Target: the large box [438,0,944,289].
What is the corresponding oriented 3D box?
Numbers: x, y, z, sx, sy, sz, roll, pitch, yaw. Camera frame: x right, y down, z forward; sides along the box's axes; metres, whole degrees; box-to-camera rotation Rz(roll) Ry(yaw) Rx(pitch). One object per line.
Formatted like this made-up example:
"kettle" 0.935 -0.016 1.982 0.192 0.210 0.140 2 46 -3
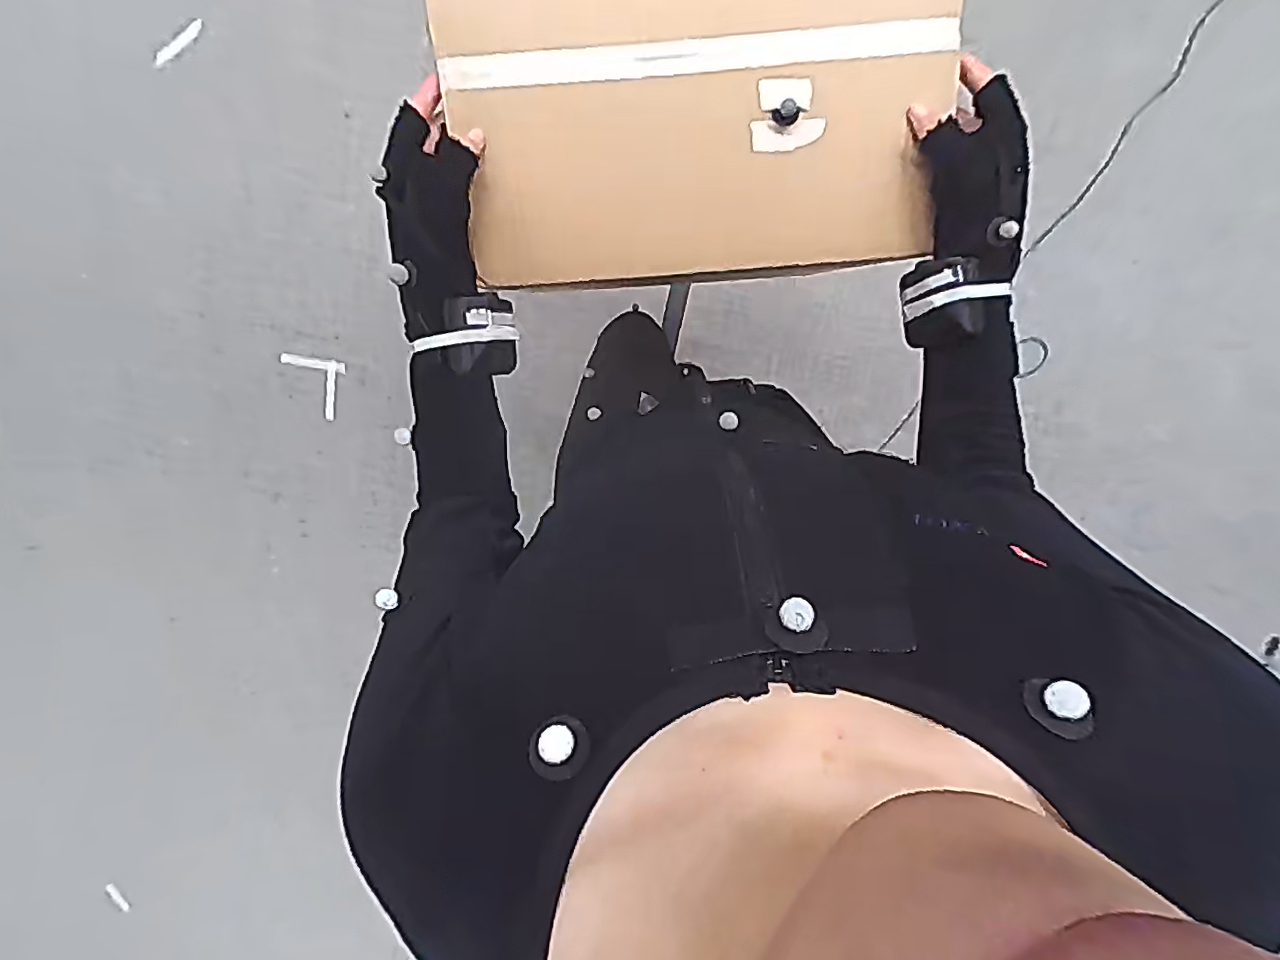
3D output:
"large box" 0.038 -0.387 0.574 0.408 0.320 0.320 -4 108 0
